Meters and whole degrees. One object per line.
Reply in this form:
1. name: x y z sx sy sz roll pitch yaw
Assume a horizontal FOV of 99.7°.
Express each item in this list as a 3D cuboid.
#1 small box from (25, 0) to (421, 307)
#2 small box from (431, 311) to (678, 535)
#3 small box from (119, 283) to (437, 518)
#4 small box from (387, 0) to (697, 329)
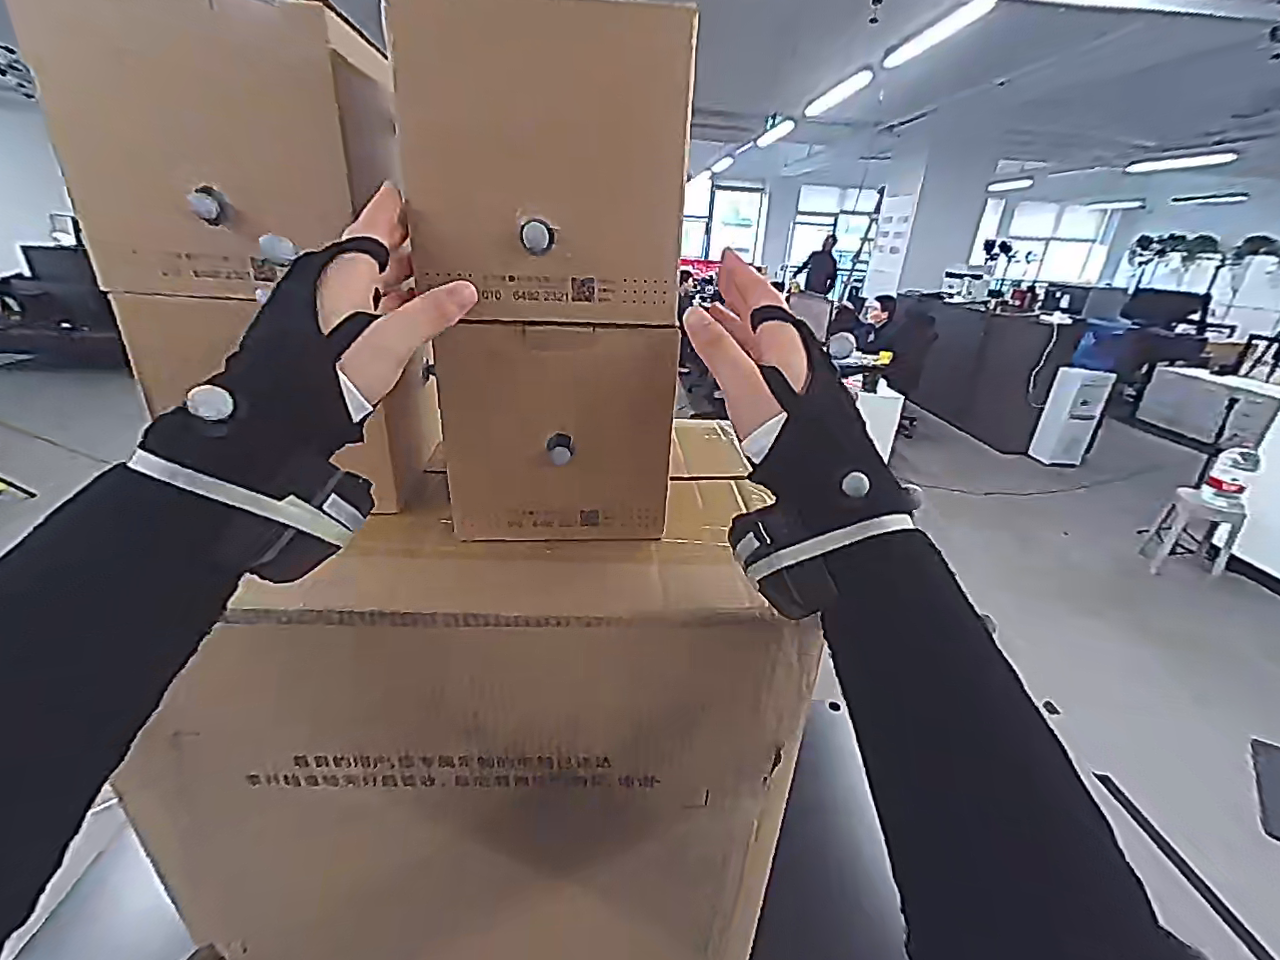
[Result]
1. small box: -0.271 -0.231 0.403 0.168 0.176 0.179 1 25 -7
2. small box: -0.065 -0.064 0.461 0.168 0.176 0.179 1 26 -7
3. small box: -0.280 -0.081 0.473 0.168 0.176 0.179 0 26 -9
4. small box: -0.059 -0.211 0.387 0.168 0.176 0.179 0 25 -4
